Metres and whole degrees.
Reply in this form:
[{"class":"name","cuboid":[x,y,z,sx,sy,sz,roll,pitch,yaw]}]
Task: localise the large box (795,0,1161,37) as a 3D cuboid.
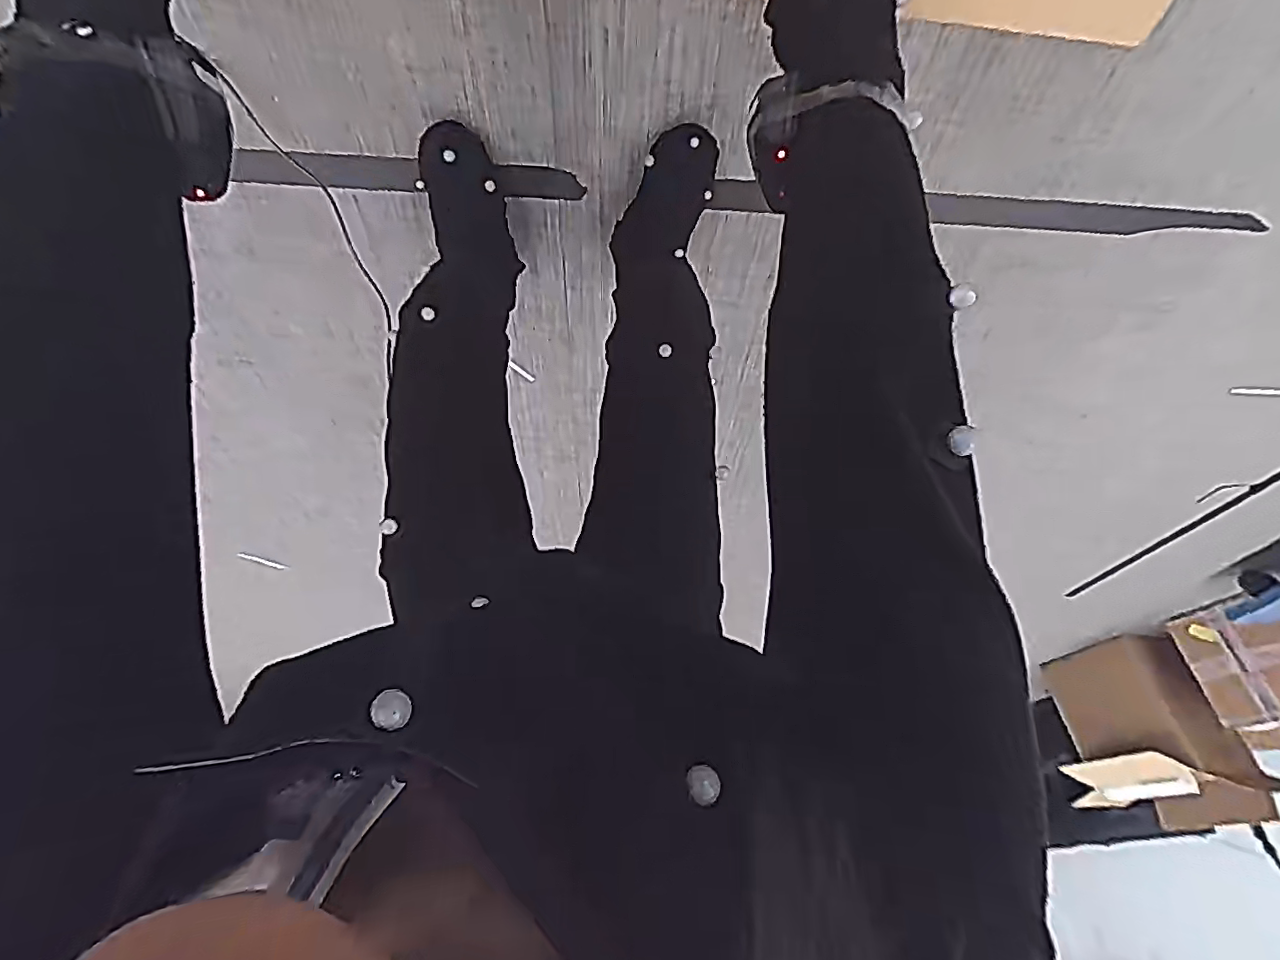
[{"class":"large box","cuboid":[0.254,-0.610,0.429,0.408,0.320,0.320,2,145,-7]}]
